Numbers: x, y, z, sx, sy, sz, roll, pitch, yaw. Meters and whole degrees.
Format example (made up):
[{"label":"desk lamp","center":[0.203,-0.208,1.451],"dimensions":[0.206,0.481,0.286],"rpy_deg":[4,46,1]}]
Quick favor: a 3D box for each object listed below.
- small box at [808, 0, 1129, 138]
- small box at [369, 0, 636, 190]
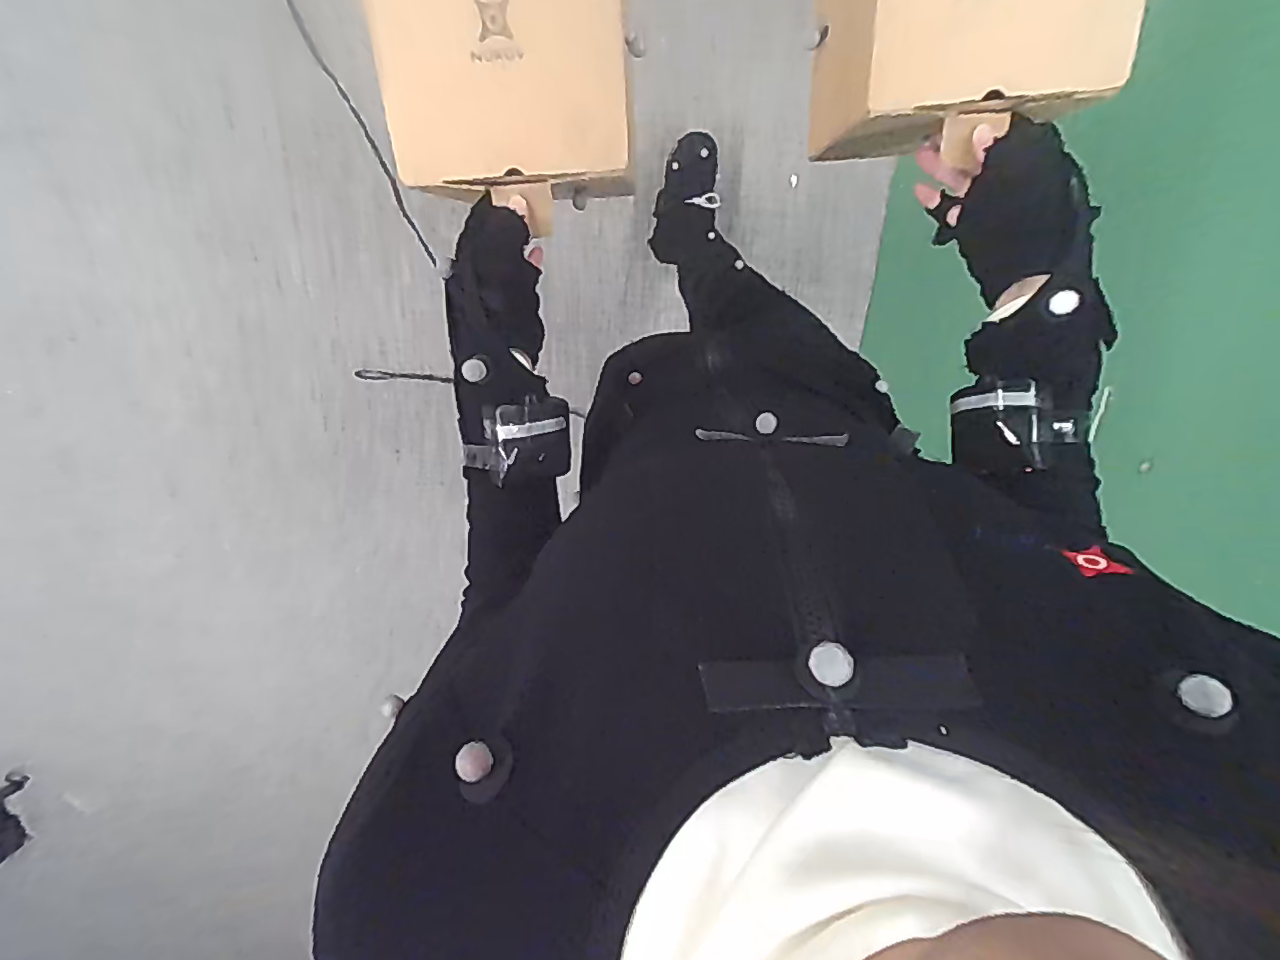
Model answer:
[{"label":"small box","center":[0.230,-0.373,0.406],"dimensions":[0.168,0.176,0.179],"rpy_deg":[-3,111,3]},{"label":"small box","center":[-0.091,-0.333,0.422],"dimensions":[0.168,0.176,0.179],"rpy_deg":[-3,112,2]}]
